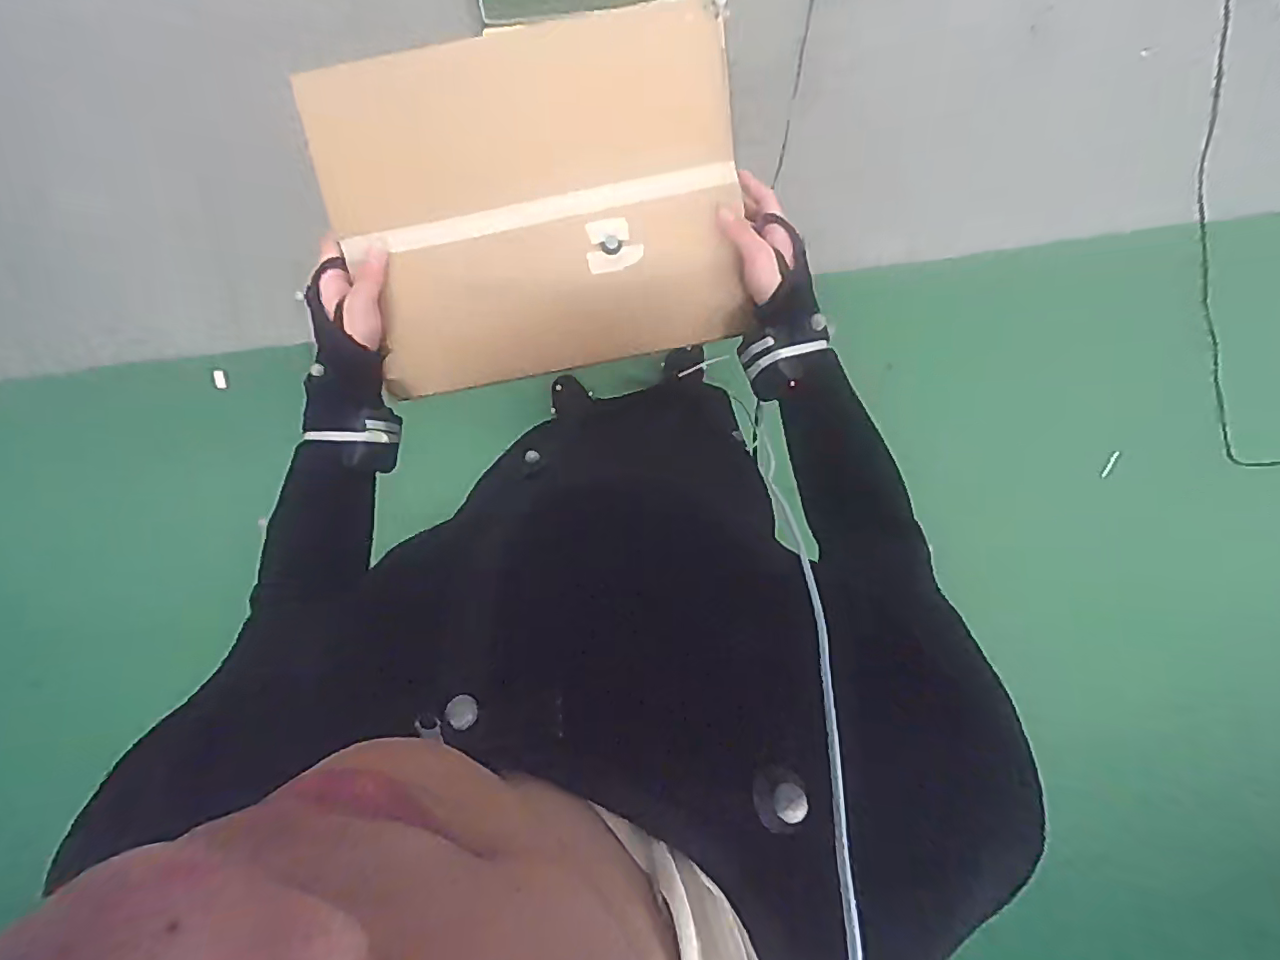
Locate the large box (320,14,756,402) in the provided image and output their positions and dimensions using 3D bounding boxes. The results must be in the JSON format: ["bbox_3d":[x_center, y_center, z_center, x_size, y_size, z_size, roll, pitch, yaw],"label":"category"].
[{"bbox_3d":[-0.101,-0.302,0.704,0.408,0.320,0.320,-10,105,0],"label":"large box"}]
